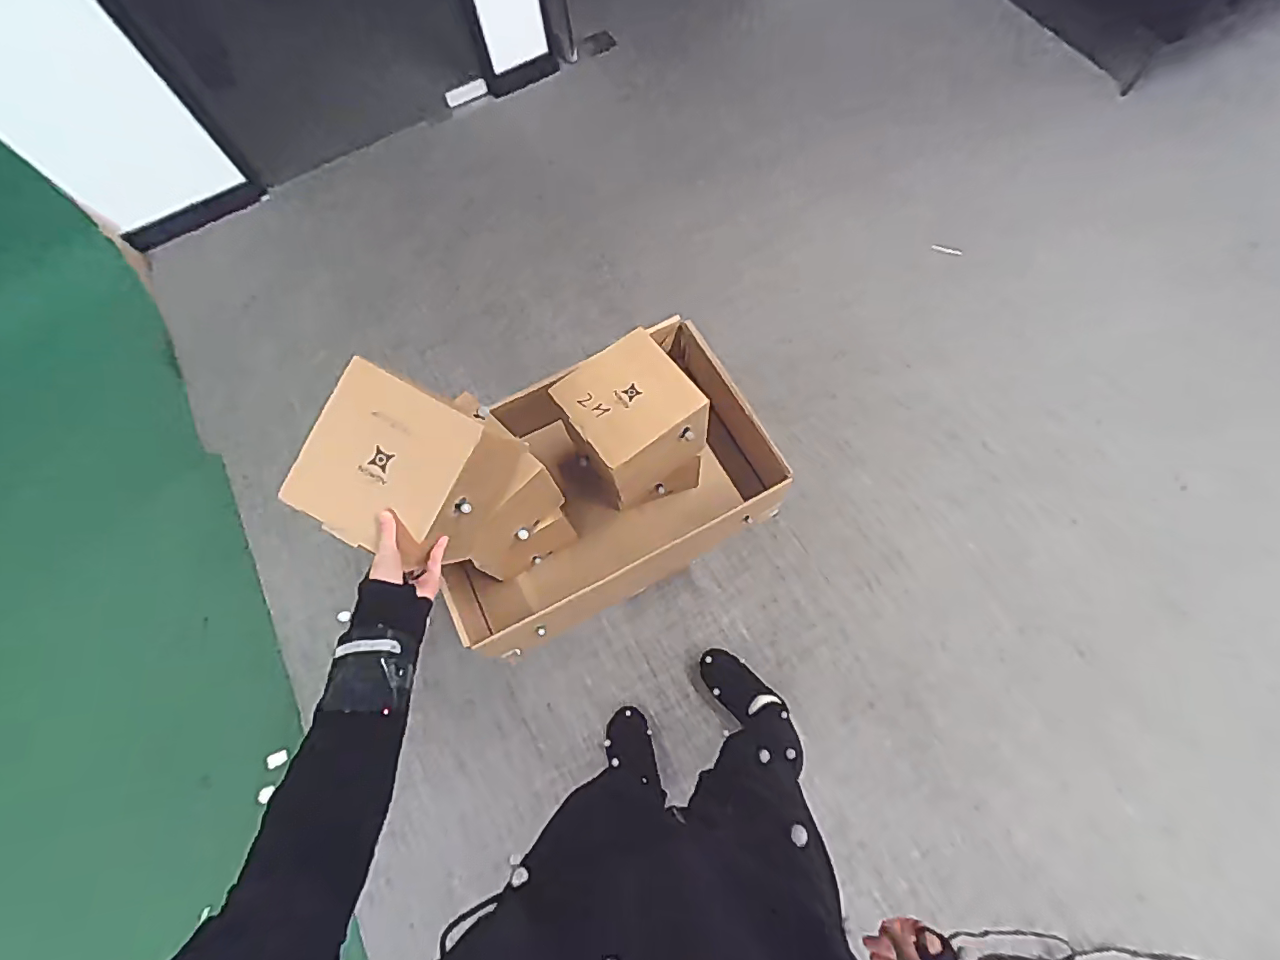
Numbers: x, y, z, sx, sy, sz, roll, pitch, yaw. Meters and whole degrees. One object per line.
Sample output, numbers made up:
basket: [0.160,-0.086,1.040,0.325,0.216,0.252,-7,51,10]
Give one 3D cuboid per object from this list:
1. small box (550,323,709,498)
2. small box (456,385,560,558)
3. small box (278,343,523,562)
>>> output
small box: [-0.013,-0.100,0.844,0.179,0.176,0.168,-35,71,-8]
small box: [-0.246,-0.004,0.823,0.168,0.176,0.179,-44,75,-11]
small box: [-0.262,-0.025,0.637,0.168,0.176,0.179,30,89,5]
